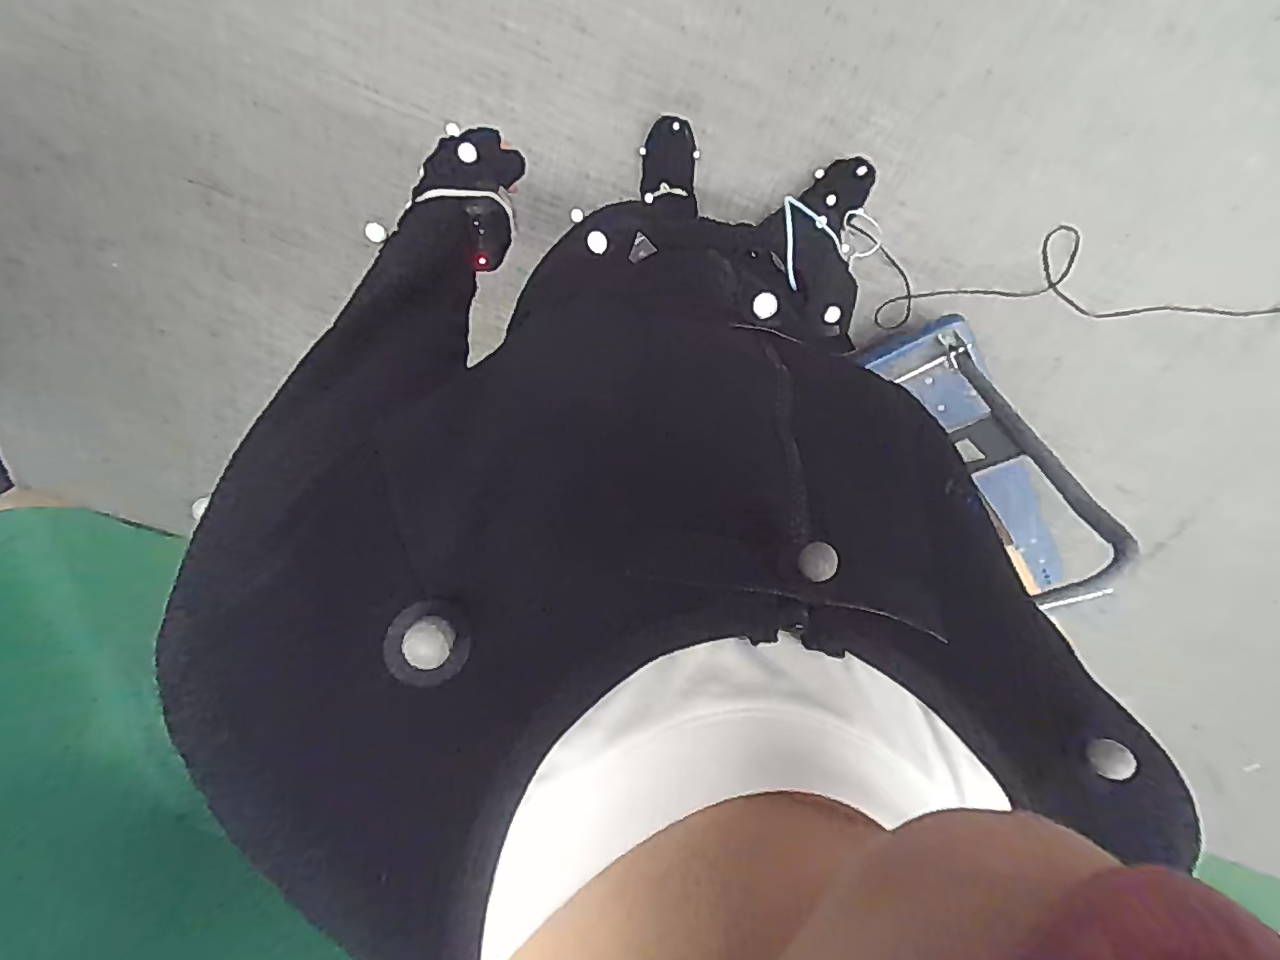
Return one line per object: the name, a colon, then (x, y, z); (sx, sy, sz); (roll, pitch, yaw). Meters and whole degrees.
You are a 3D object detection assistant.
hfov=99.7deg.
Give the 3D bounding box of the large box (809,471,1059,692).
large box: (0.693, 0.251, 1.341); (0.408, 0.320, 0.320); (-32, 114, 24)
